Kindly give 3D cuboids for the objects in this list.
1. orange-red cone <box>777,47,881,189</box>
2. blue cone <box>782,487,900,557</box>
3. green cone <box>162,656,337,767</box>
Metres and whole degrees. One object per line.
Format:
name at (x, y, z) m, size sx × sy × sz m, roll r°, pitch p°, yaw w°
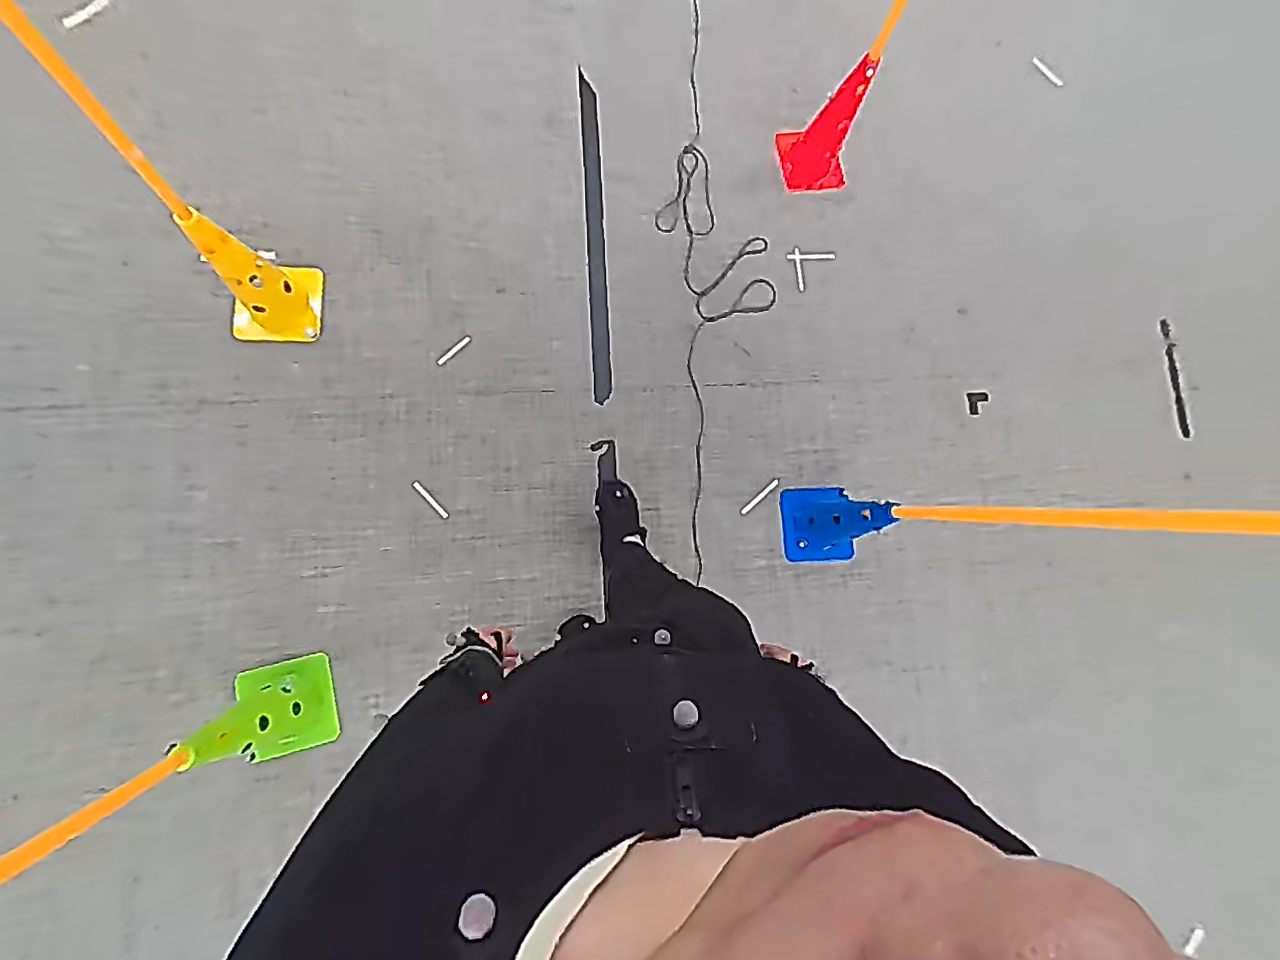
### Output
orange-red cone at (0.548, -1.011, 1.490) m, size 0.199 × 0.360 × 0.198 m, roll -8°, pitch 81°, yaw -8°
blue cone at (0.507, 0.086, 1.315) m, size 0.193 × 0.380 × 0.192 m, roll 0°, pitch 80°, yaw -9°
green cone at (-0.771, 0.482, 1.047) m, size 0.200 × 0.368 × 0.202 m, roll -13°, pitch 81°, yaw -11°
